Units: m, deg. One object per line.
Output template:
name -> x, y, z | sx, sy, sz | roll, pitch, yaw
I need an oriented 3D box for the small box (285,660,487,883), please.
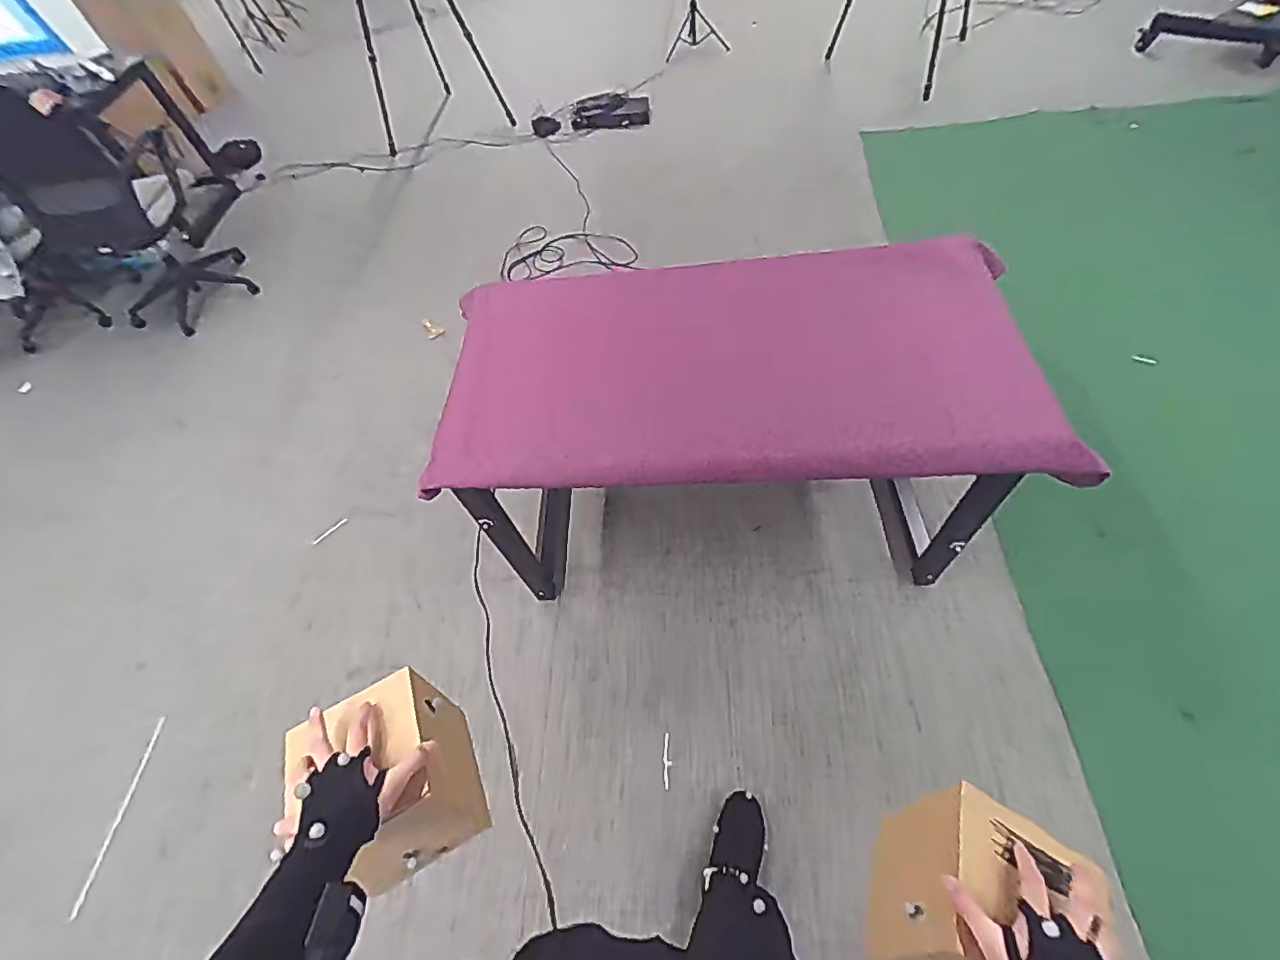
small box -> -0.321, 0.376, 0.699 | 0.168, 0.176, 0.179 | -27, 45, -9
